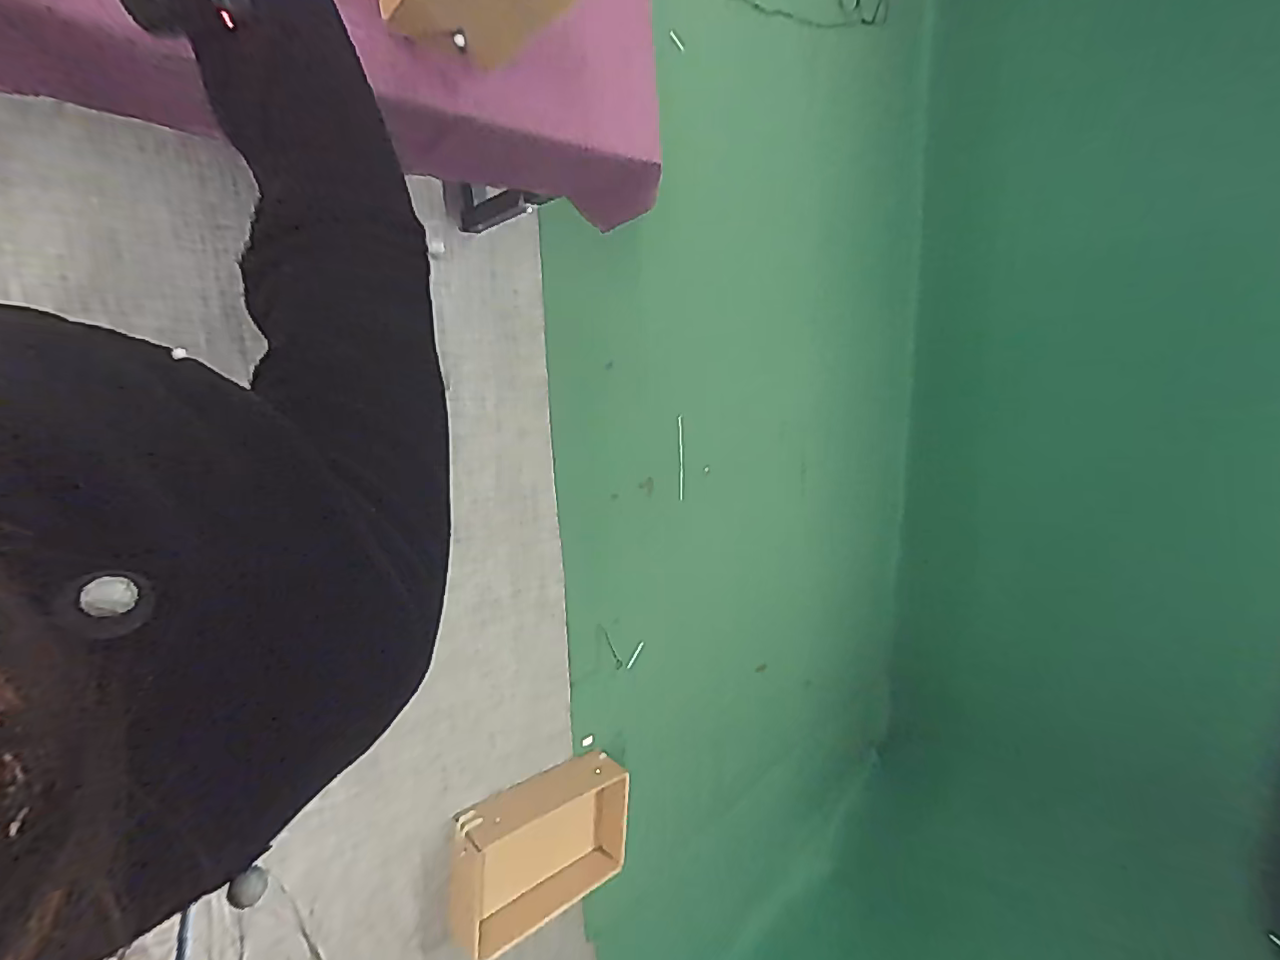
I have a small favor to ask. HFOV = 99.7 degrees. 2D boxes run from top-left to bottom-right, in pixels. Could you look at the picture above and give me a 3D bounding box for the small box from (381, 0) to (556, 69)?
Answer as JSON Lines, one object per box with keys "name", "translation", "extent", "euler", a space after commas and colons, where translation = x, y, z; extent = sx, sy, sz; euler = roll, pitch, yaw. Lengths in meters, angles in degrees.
{"name": "small box", "translation": [-0.227, -0.680, 0.690], "extent": [0.168, 0.176, 0.179], "euler": [-13, 105, -42]}
